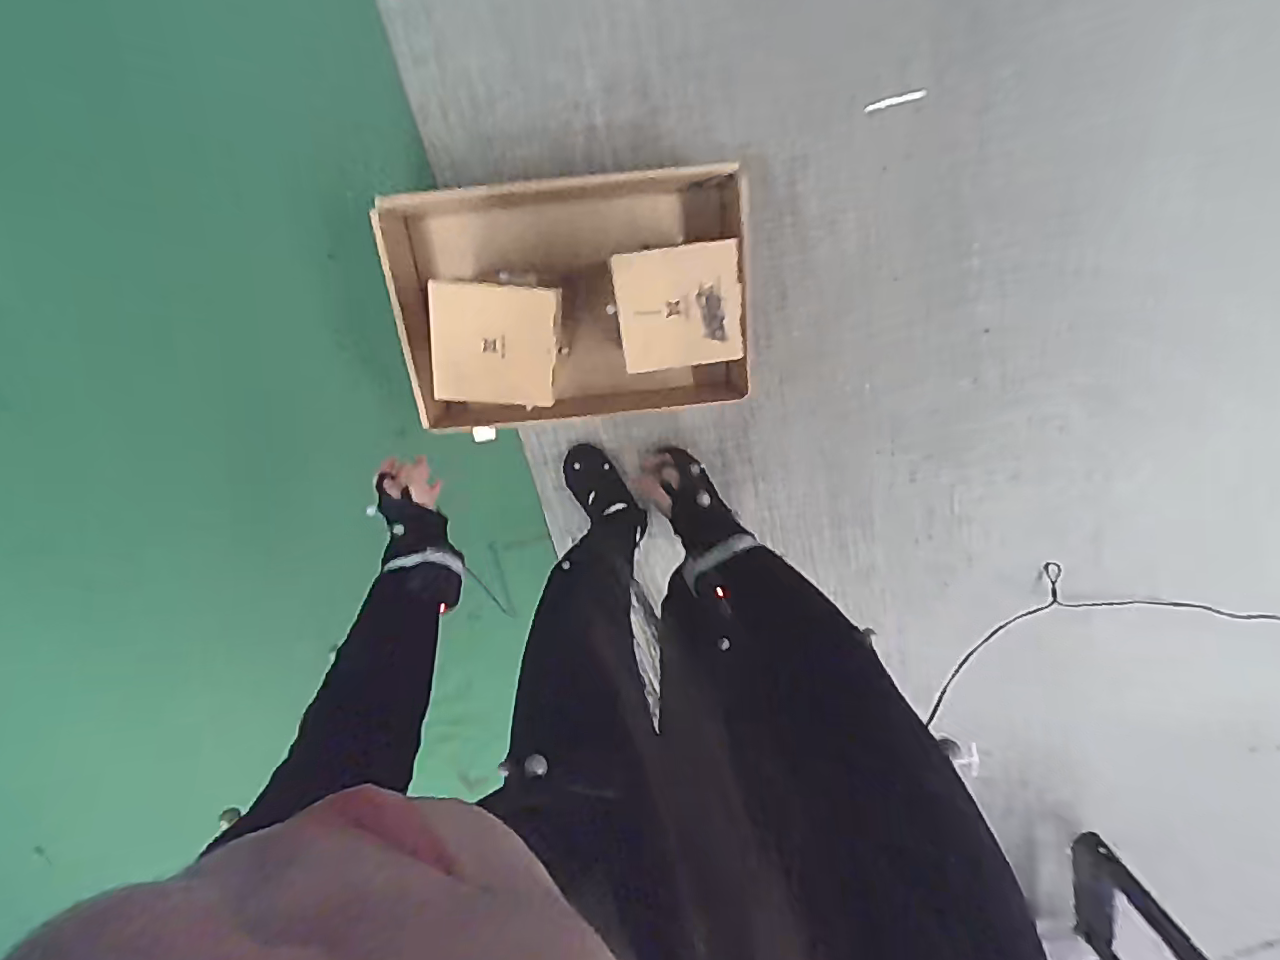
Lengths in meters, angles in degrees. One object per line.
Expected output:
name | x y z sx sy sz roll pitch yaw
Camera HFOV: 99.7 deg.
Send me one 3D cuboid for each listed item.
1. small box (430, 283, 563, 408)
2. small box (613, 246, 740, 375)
small box | -0.216 -0.215 0.849 0.179 0.176 0.168 2 110 -7
small box | 0.052 -0.270 0.844 0.179 0.176 0.168 -7 112 1
